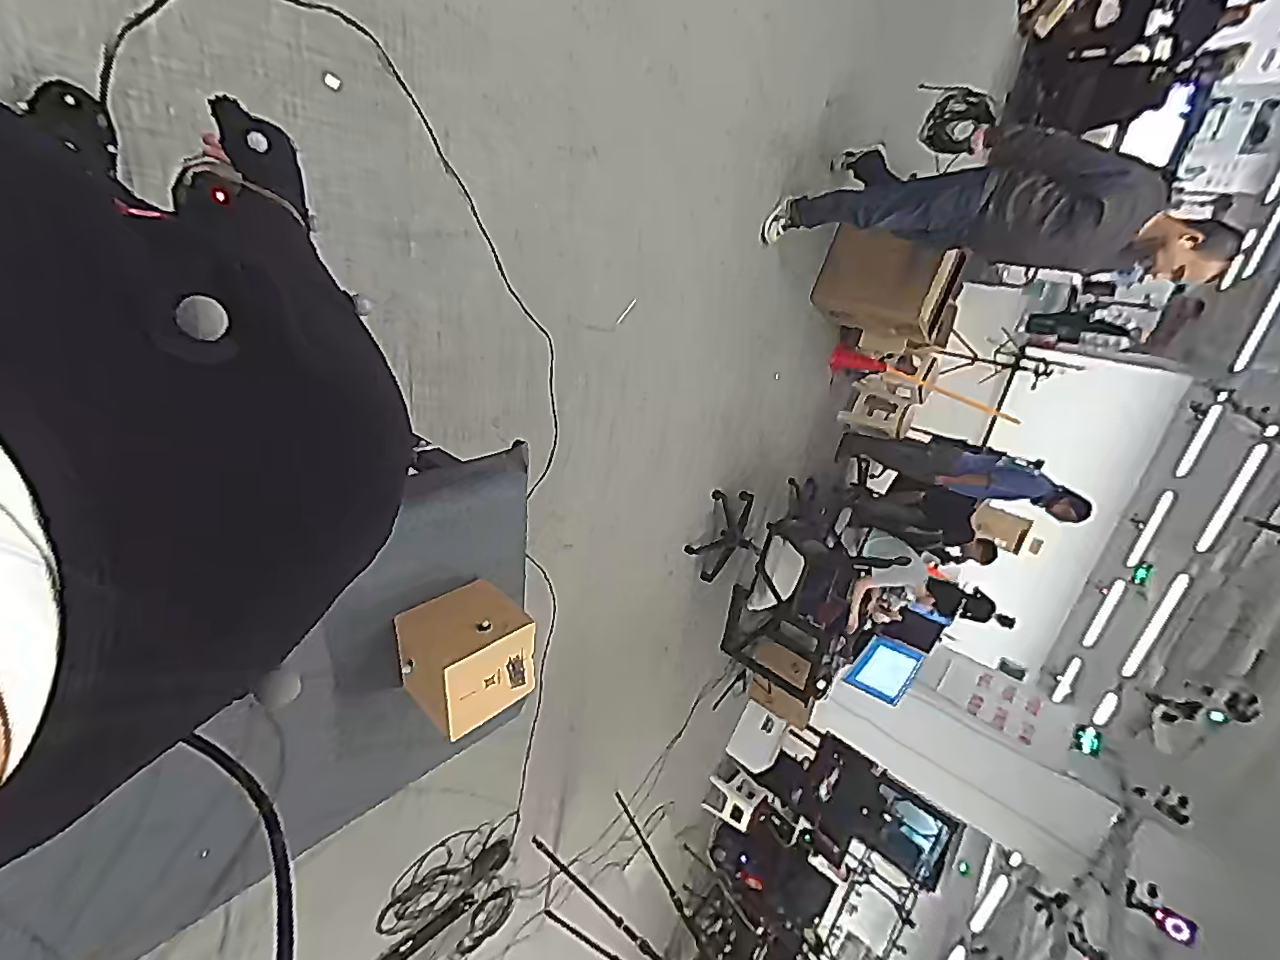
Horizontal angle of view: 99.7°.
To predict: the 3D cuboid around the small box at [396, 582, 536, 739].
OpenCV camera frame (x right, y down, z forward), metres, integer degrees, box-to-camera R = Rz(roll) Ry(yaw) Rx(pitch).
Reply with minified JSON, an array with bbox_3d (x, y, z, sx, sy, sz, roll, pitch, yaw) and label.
[{"bbox_3d":[-0.308,0.309,0.969,0.179,0.176,0.168,-21,126,-43],"label":"small box"}]
